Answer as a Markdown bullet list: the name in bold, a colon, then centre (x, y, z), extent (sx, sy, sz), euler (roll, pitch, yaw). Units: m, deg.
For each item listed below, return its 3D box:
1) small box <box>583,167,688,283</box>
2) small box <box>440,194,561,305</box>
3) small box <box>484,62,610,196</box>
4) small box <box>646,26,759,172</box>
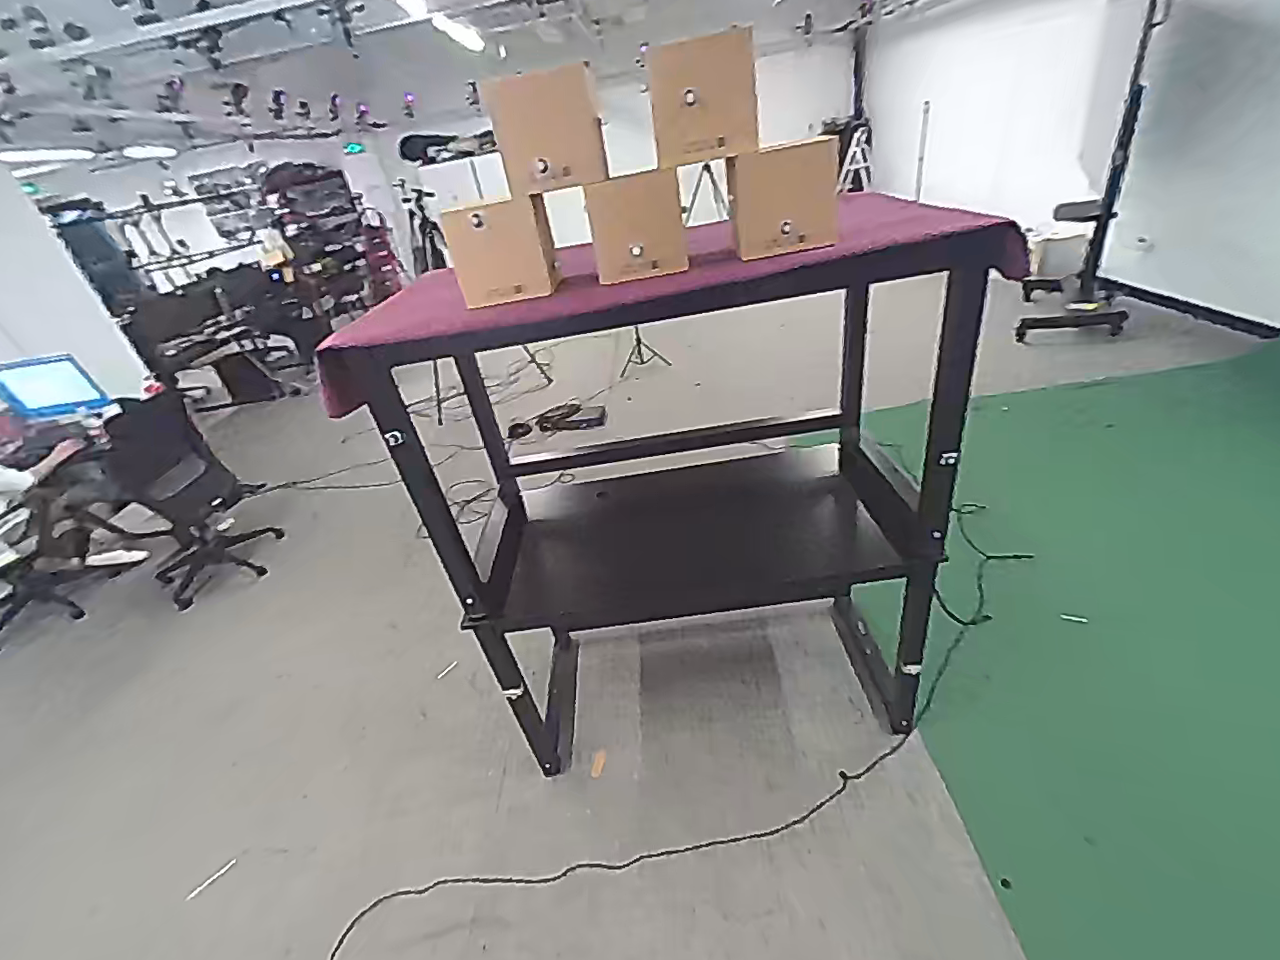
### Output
- **small box**: centre (-0.004, -0.479, 1.017), extent (0.168, 0.176, 0.179), euler (-8, 31, 5)
- **small box**: centre (-0.254, -0.442, 1.033), extent (0.168, 0.176, 0.179), euler (-9, 30, 4)
- **small box**: centre (-0.150, -0.602, 0.945), extent (0.168, 0.176, 0.179), euler (-8, 31, 6)
- **small box**: centre (0.105, -0.634, 0.922), extent (0.168, 0.176, 0.179), euler (-8, 30, 5)
